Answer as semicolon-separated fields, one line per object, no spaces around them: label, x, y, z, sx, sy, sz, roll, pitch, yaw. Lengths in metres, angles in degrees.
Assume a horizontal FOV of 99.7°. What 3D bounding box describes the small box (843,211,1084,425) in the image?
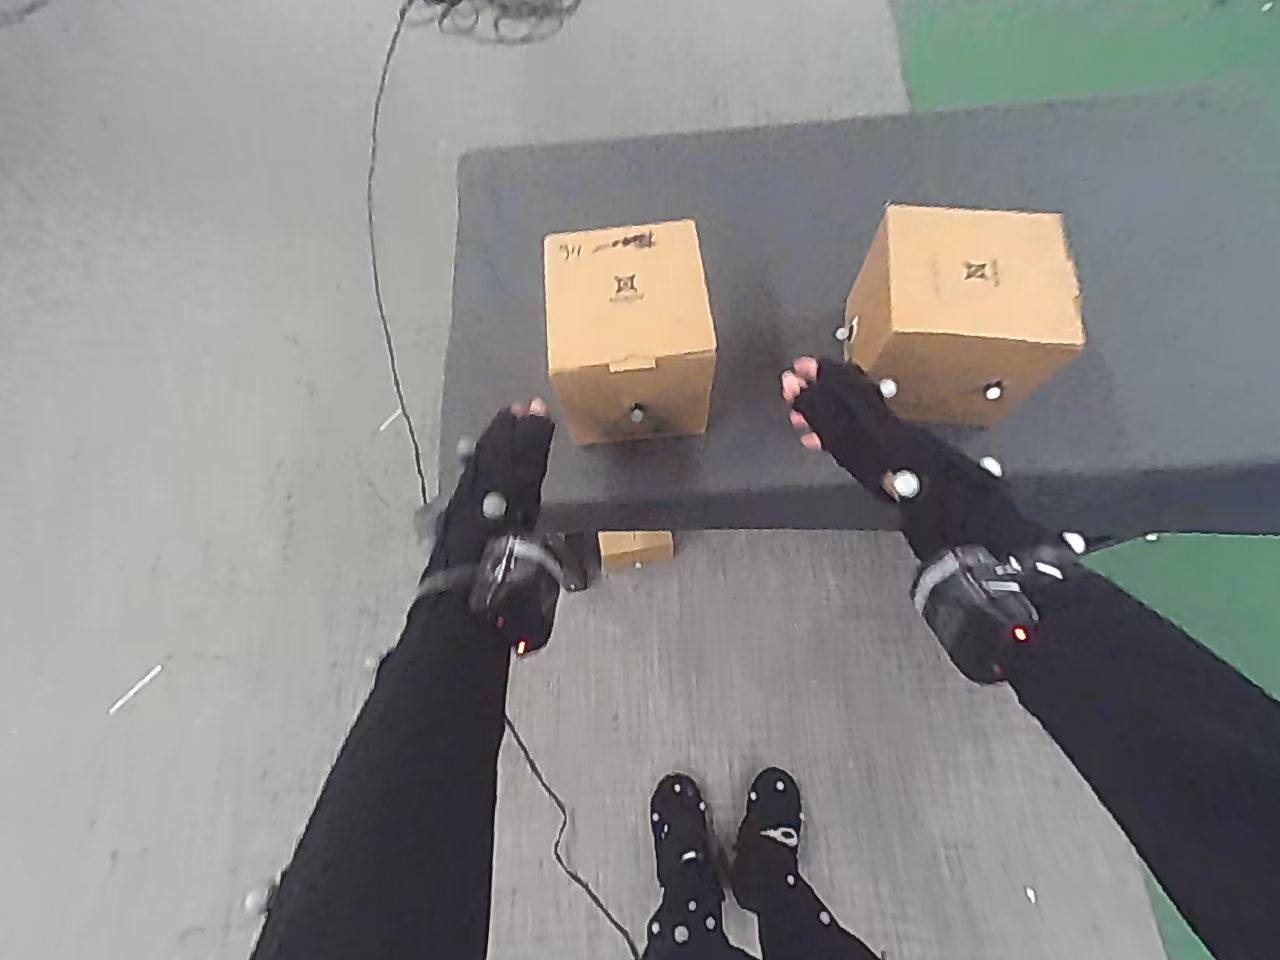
small box;0.346;-0.175;0.617;0.179;0.176;0.168;5;68;6

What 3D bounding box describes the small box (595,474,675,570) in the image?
small box;-0.011;0.106;1.310;0.168;0.176;0.179;-10;69;-1

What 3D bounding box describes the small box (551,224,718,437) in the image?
small box;-0.005;-0.160;0.628;0.168;0.176;0.179;-6;68;0
